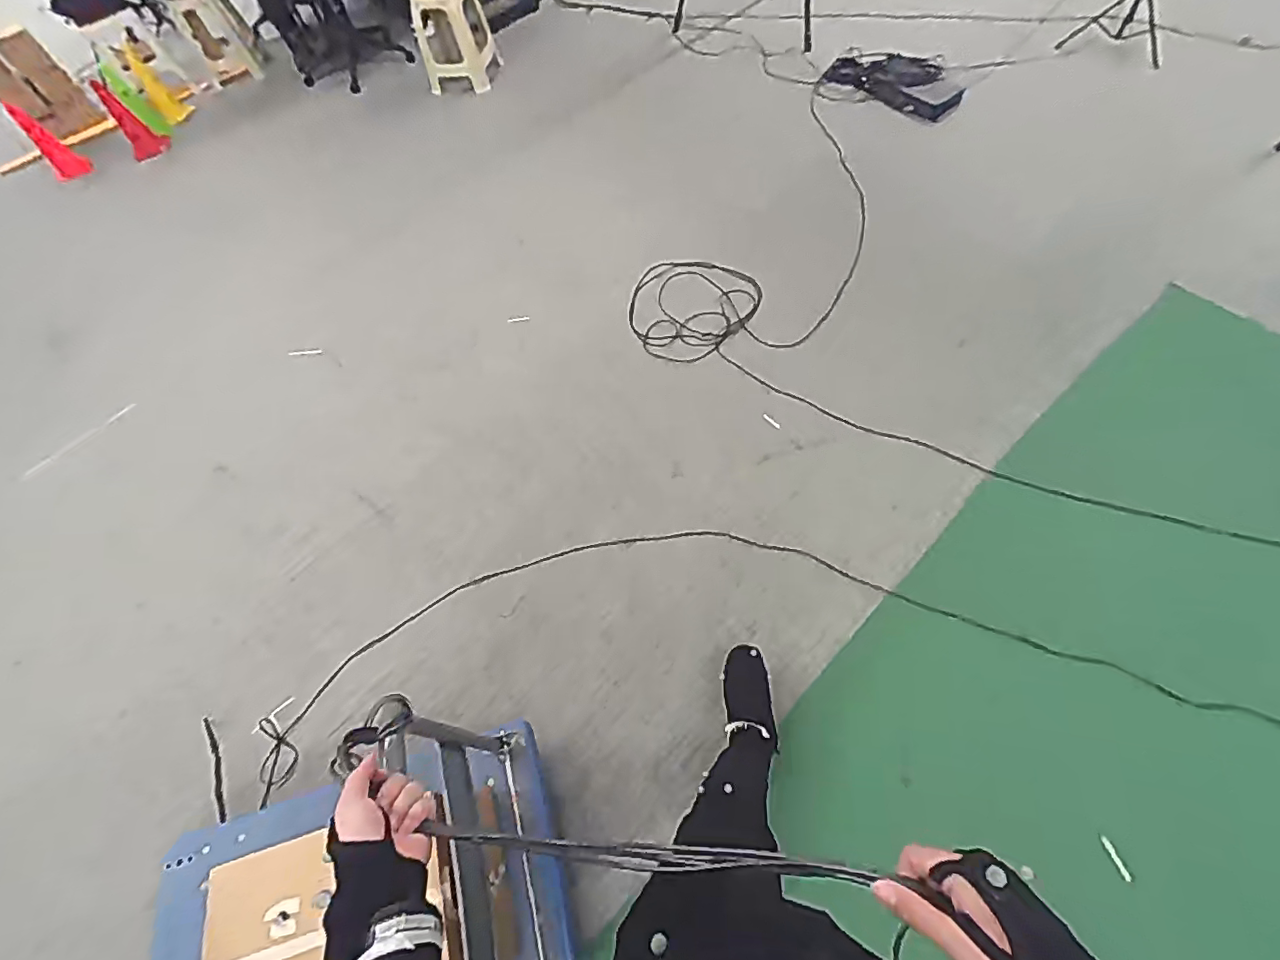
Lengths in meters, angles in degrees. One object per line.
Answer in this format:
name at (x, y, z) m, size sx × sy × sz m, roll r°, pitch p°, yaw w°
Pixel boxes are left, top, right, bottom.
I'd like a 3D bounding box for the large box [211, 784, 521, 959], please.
large box at (-0.484, 0.807, 1.009) m, size 0.408 × 0.320 × 0.320 m, roll -19°, pitch 60°, yaw -3°
